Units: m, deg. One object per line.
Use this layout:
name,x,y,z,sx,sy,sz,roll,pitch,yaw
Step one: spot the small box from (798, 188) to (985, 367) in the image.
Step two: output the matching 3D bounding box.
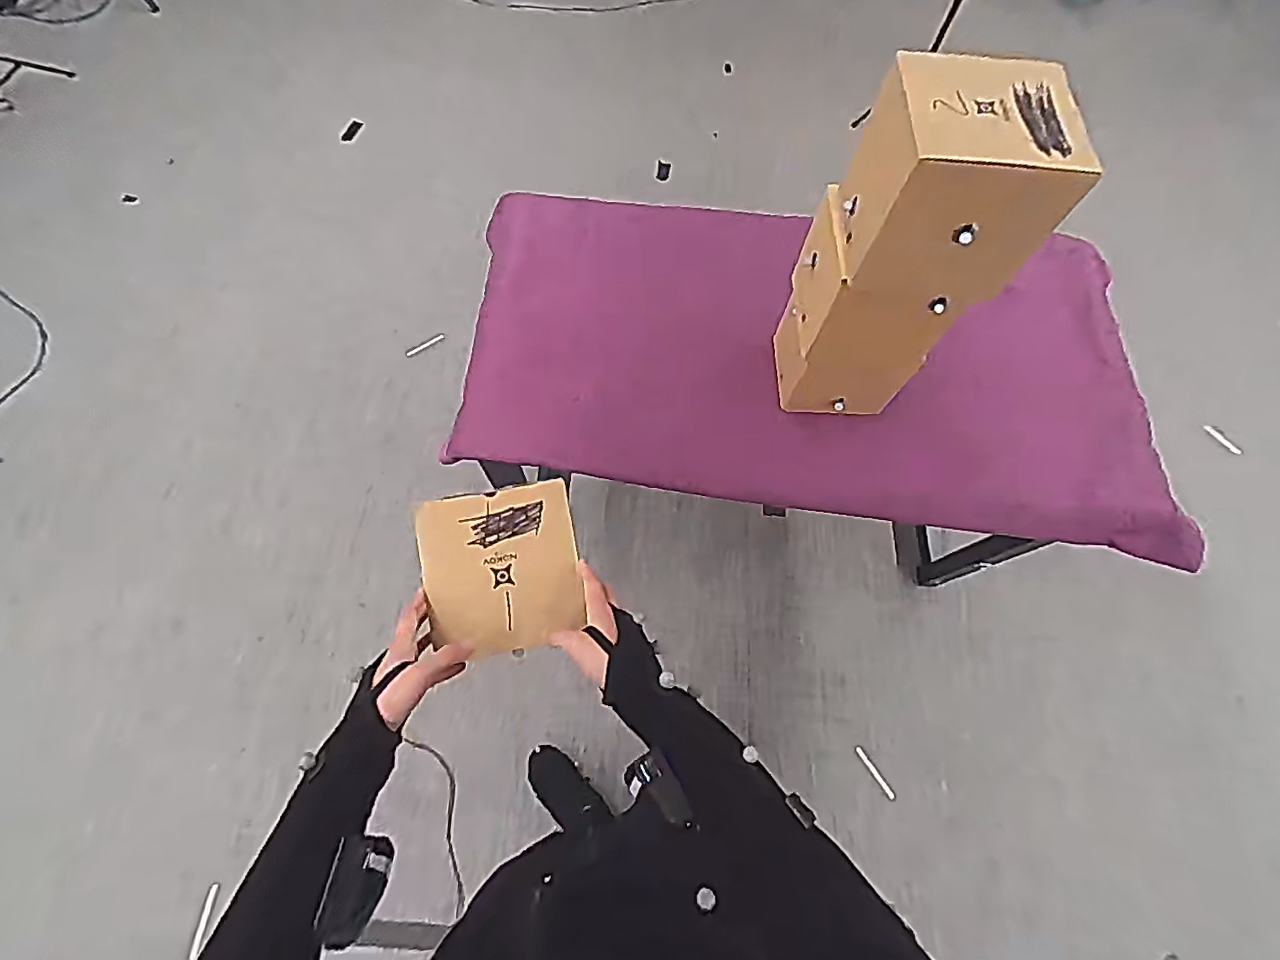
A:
small box,0.328,-0.273,0.752,0.179,0.176,0.168,2,67,-2

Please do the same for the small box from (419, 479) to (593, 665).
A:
small box,-0.157,0.111,0.657,0.168,0.176,0.179,-10,81,-11

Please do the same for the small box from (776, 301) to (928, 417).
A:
small box,0.342,-0.218,0.906,0.179,0.176,0.168,2,66,-2
